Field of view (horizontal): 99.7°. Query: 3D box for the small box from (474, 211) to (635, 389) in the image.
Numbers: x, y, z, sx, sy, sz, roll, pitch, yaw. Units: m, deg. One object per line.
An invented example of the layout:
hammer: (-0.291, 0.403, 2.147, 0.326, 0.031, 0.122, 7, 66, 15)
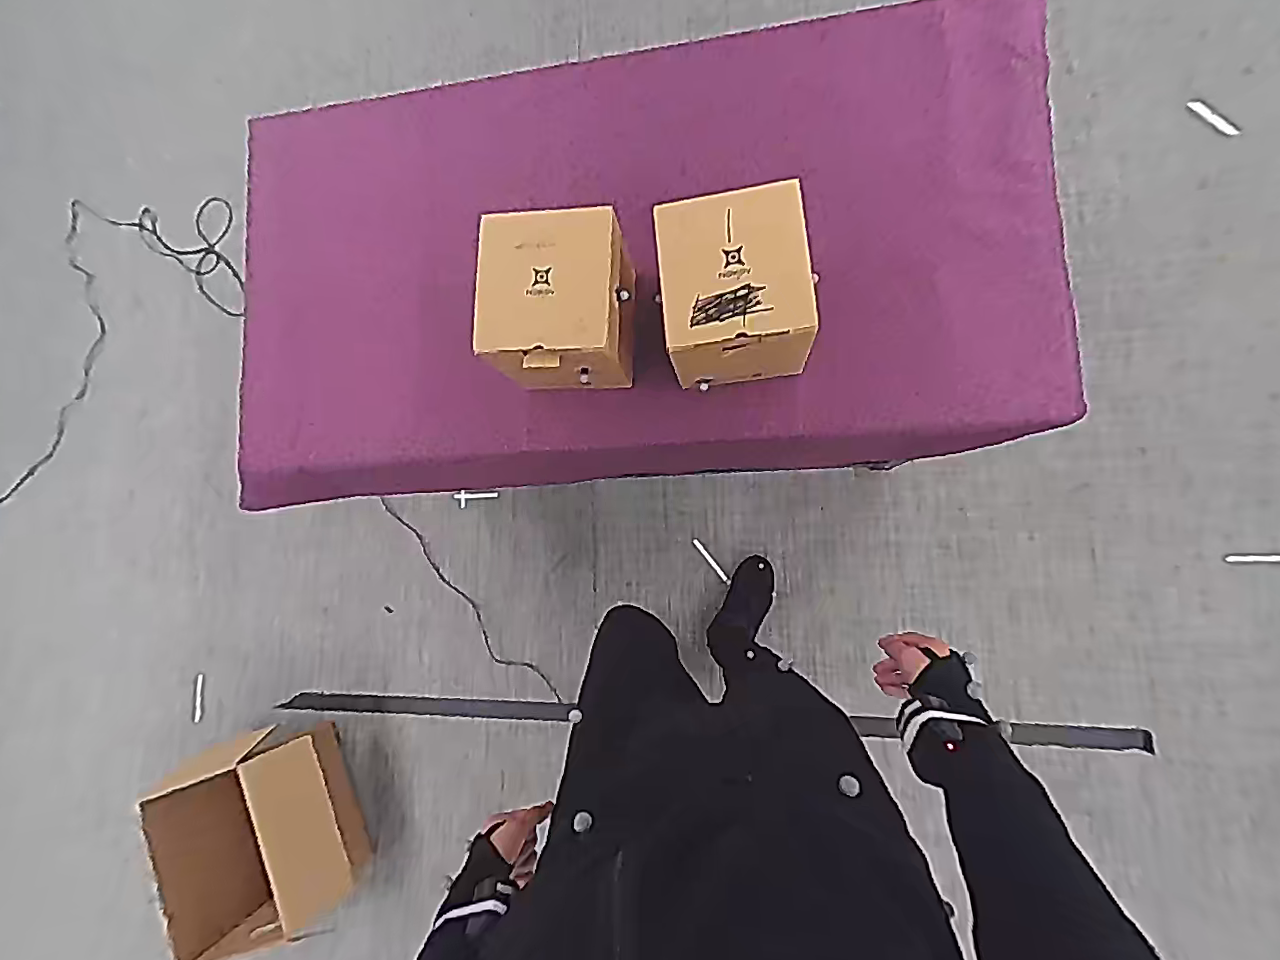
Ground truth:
small box: (-0.102, -0.223, 0.715, 0.168, 0.176, 0.179, 2, 84, 9)

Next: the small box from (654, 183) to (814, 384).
small box: (0.116, -0.227, 0.677, 0.168, 0.176, 0.179, -6, 82, 9)
